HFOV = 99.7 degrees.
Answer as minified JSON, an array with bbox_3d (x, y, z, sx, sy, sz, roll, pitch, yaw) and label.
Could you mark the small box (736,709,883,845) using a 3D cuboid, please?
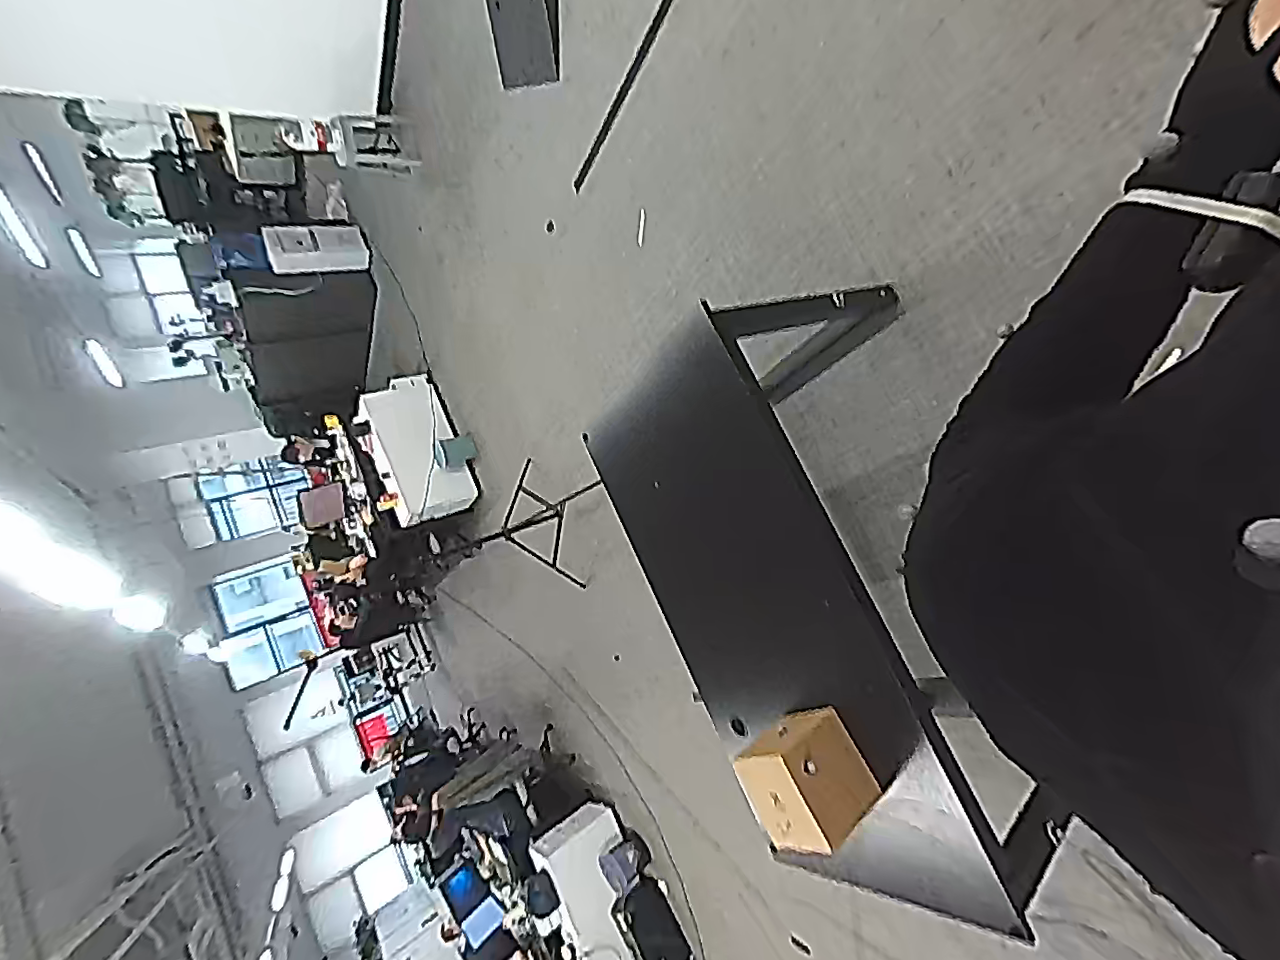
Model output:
[{"bbox_3d":[0.328,0.568,1.056,0.179,0.176,0.168,60,145,14],"label":"small box"}]
